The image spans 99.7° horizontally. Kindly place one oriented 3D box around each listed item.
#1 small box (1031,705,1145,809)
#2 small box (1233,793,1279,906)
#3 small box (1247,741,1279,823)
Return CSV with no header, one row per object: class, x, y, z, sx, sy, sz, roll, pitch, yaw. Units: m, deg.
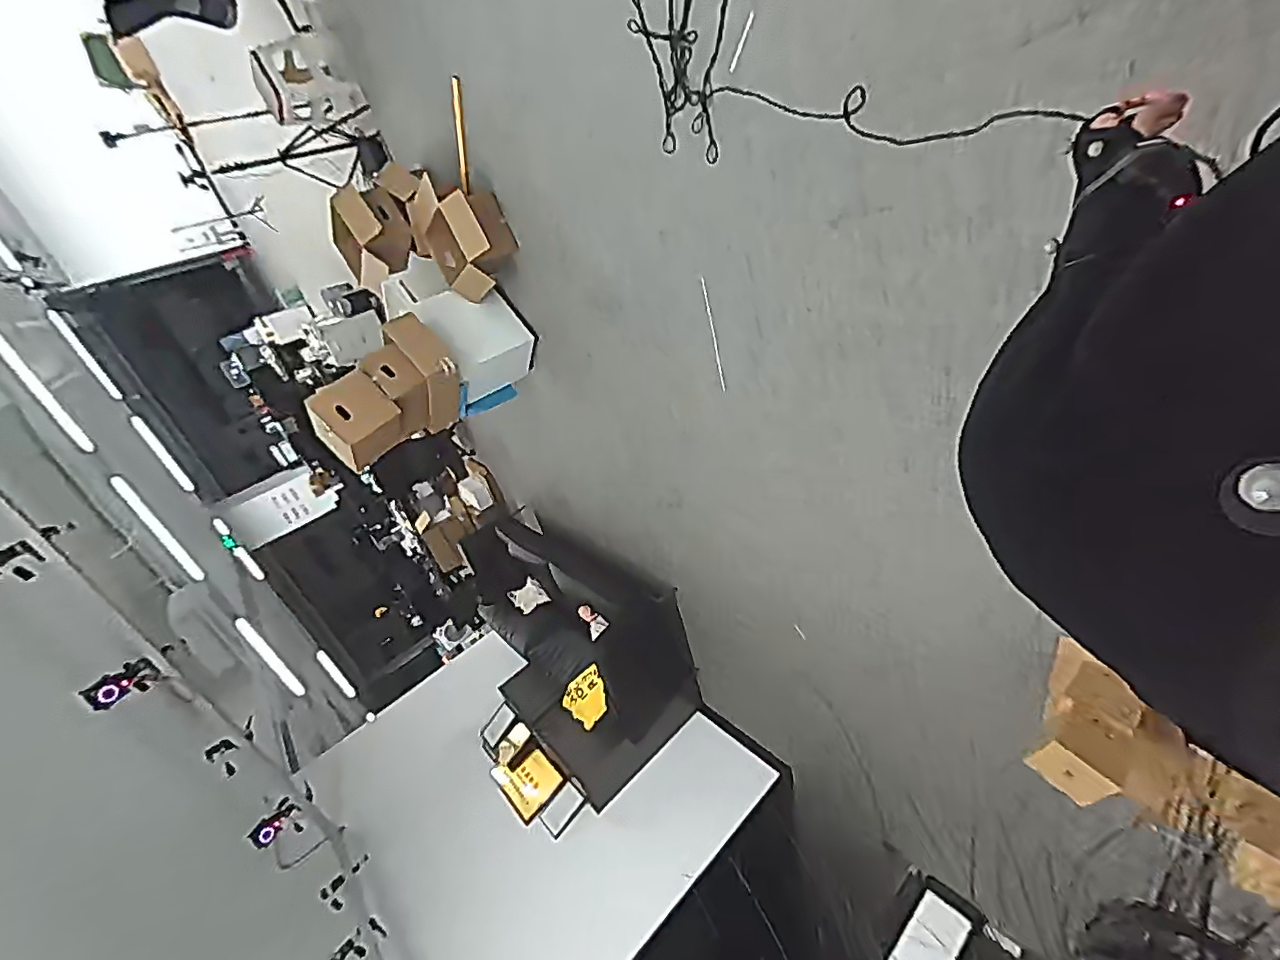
small box,1.258,0.775,1.518,0.168,0.176,0.179,38,147,31
small box,1.506,0.865,1.230,0.168,0.176,0.179,20,136,49
small box,1.624,0.777,1.306,0.168,0.176,0.179,19,136,49
